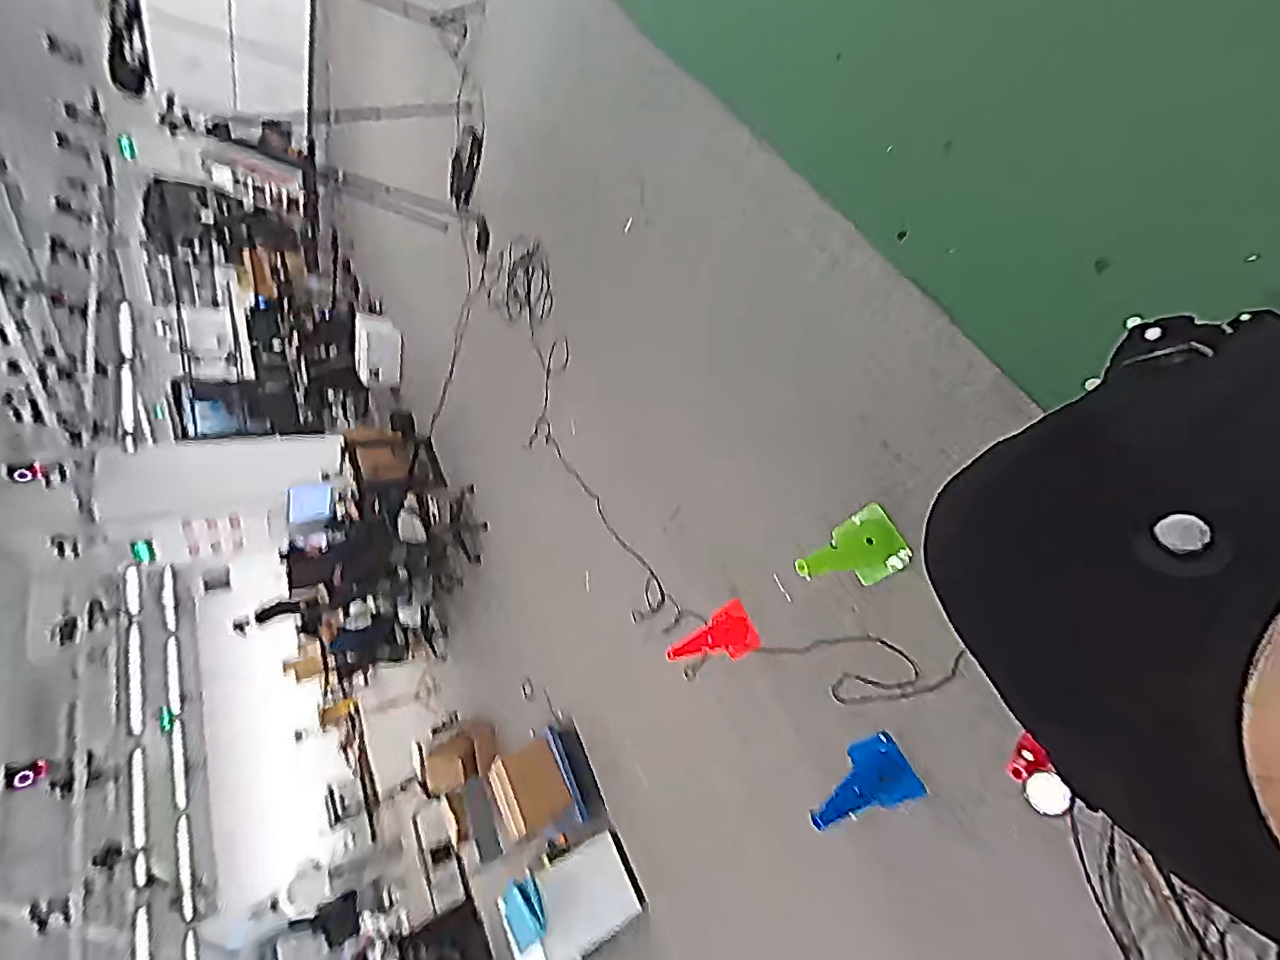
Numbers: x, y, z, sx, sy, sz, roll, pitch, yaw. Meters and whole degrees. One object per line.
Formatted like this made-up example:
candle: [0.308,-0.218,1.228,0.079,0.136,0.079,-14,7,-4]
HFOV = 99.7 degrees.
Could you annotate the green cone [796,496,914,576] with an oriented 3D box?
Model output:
green cone: [0.584,0.194,1.572,0.202,0.368,0.200,-53,55,45]

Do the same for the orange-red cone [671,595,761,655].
orange-red cone: [0.261,0.602,2.087,0.199,0.360,0.198,-49,60,44]
